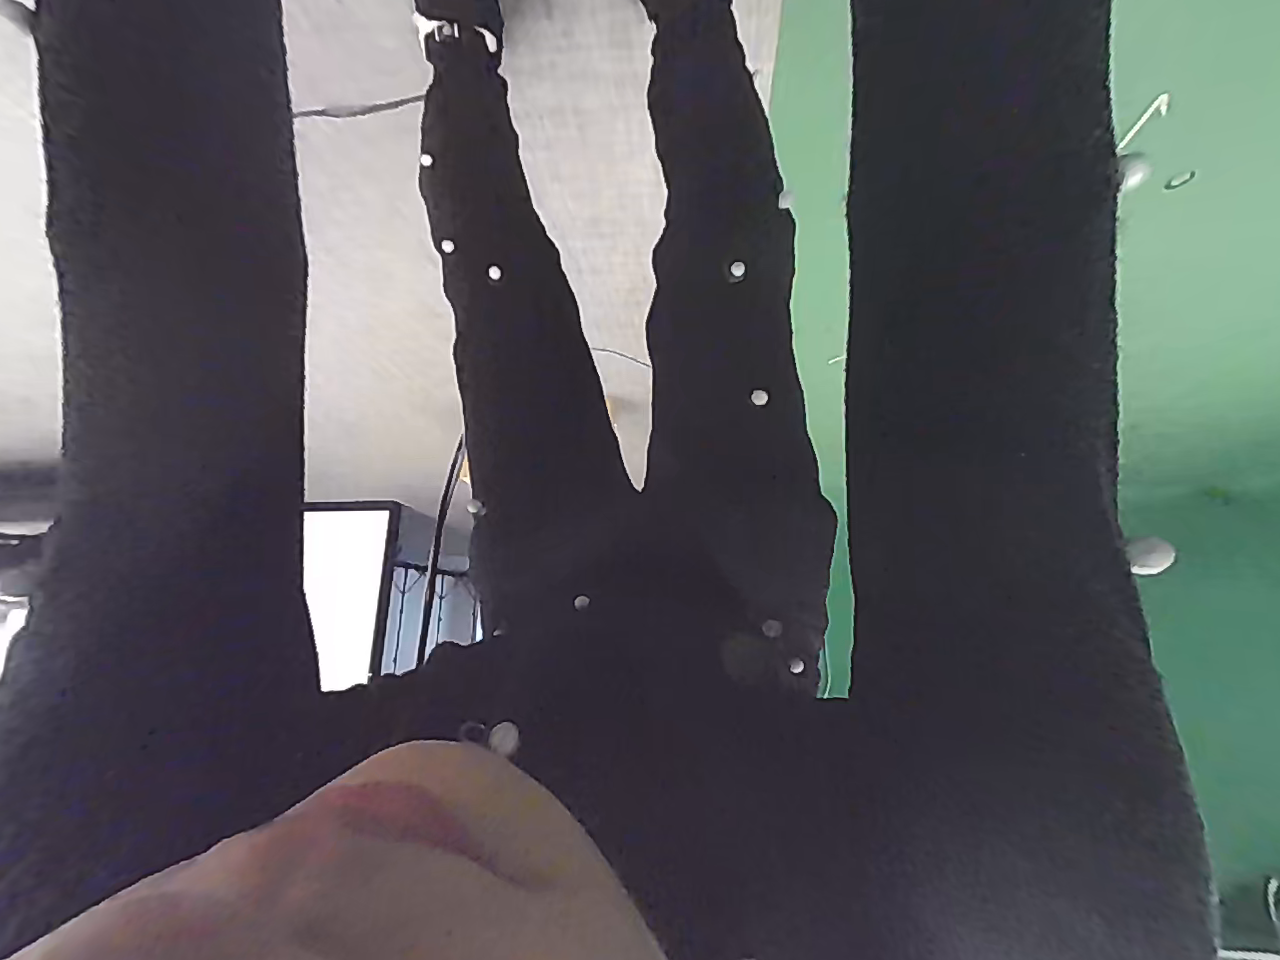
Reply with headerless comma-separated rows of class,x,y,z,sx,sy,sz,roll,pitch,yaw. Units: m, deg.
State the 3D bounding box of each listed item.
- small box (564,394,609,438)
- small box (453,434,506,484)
small box,-0.218,-0.247,2.223,0.168,0.176,0.179,2,166,1
small box,-0.656,-0.084,2.226,0.168,0.176,0.179,0,166,-1
